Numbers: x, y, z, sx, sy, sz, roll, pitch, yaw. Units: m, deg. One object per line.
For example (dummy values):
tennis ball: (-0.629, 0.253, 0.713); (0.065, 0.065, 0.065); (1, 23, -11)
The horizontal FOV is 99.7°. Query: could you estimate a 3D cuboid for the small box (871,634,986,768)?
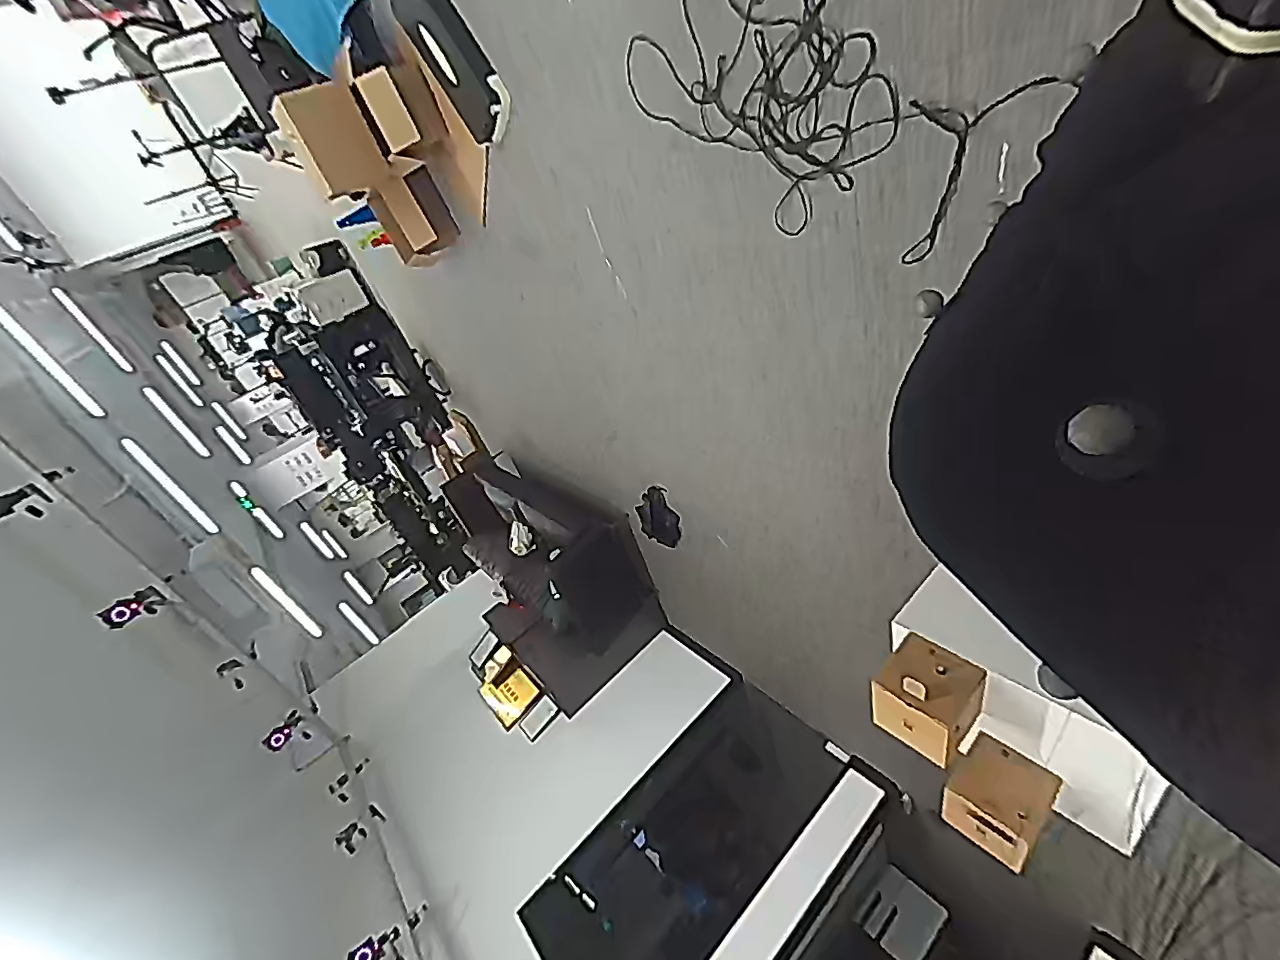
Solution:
small box: (0.636, 0.483, 1.195); (0.168, 0.176, 0.179); (26, 145, 46)
